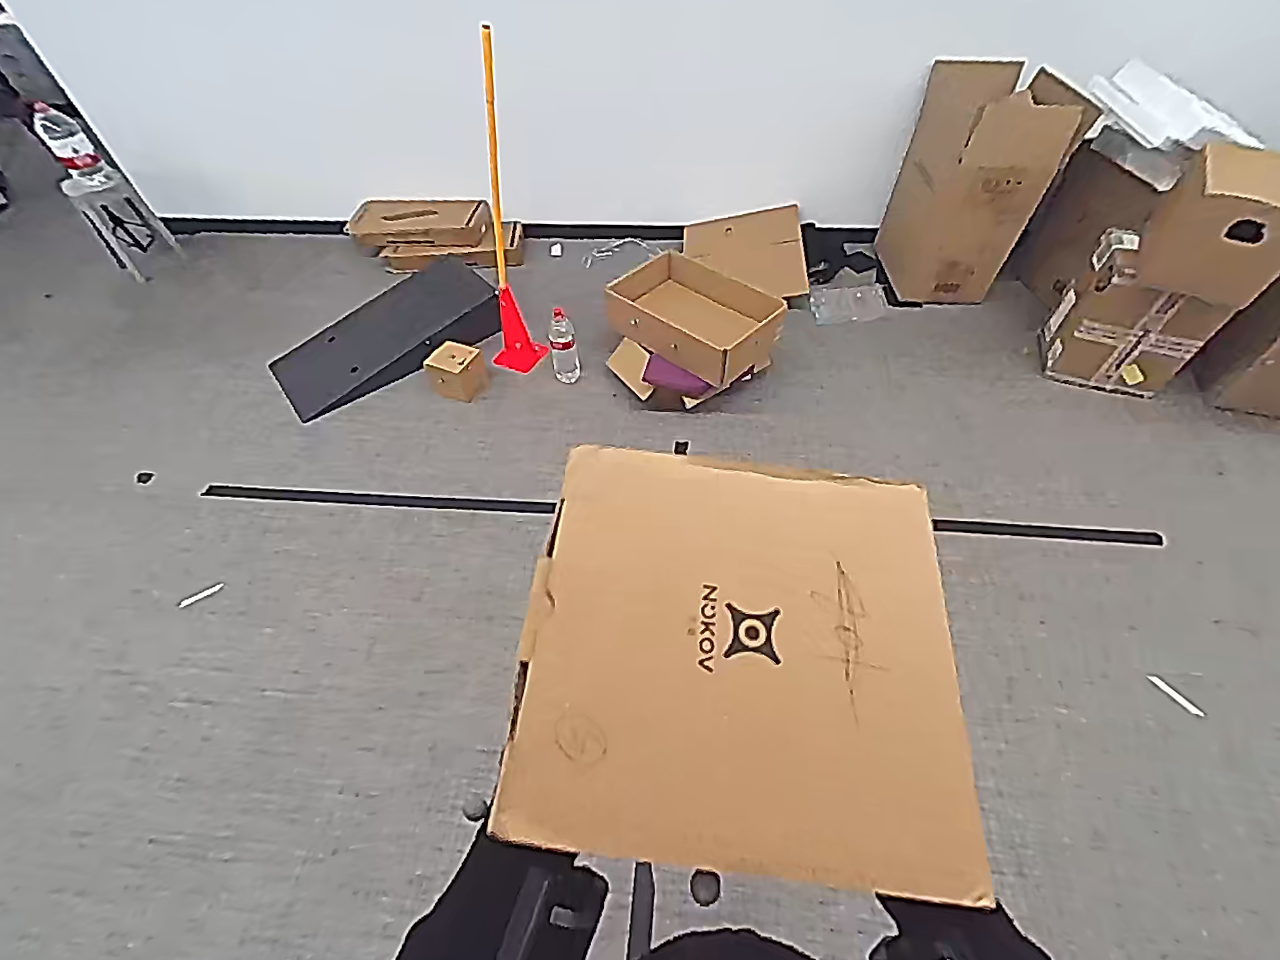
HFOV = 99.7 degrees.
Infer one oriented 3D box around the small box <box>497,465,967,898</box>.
[{"bbox_3d":[0.038,0.111,0.305,0.179,0.176,0.168,7,61,1],"label":"small box"}]
